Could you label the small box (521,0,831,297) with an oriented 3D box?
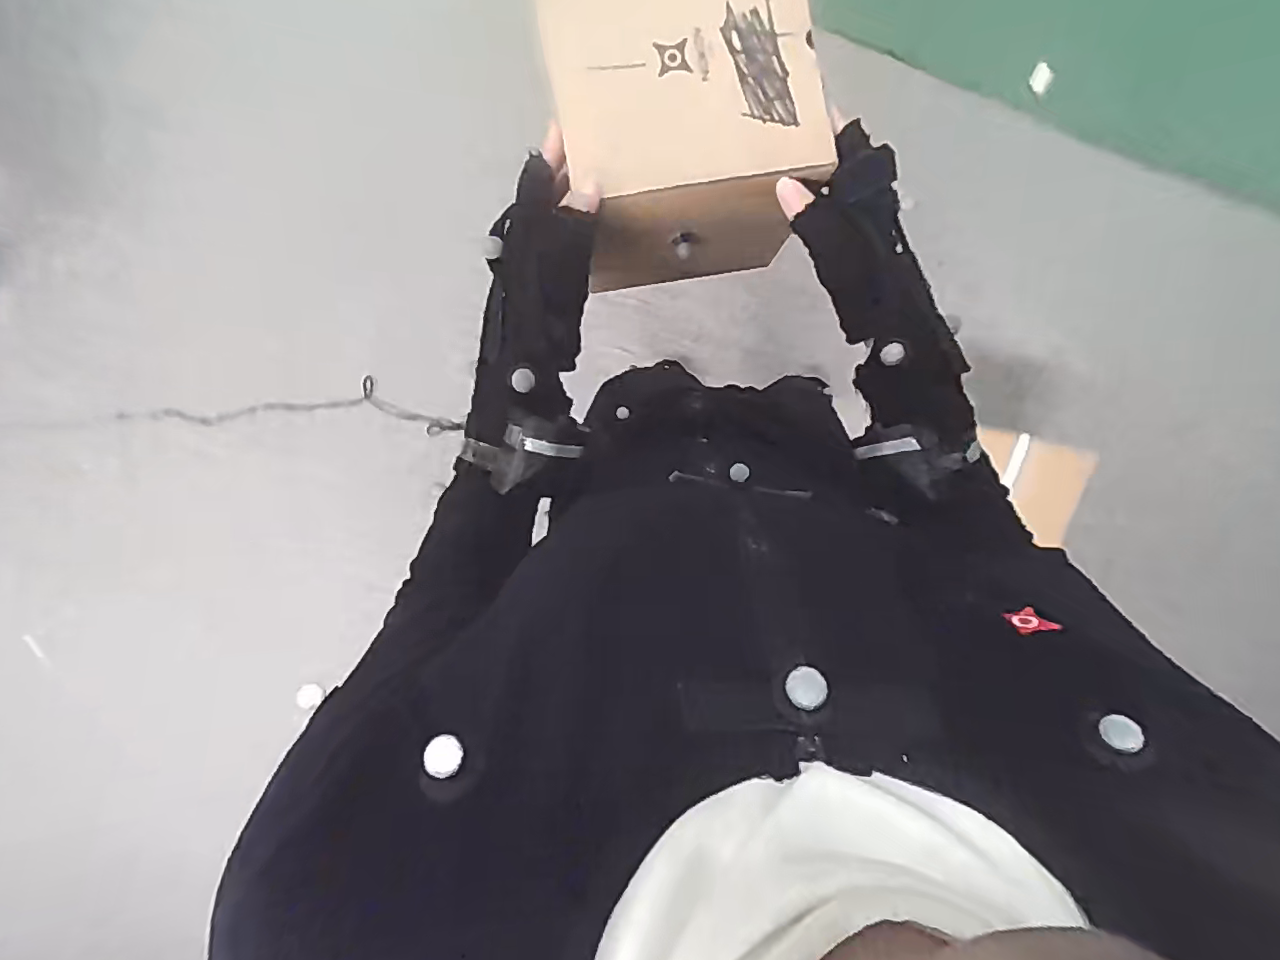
[{"bbox_3d":[0.018,-0.263,0.423,0.179,0.176,0.168,-14,91,-3],"label":"small box"}]
